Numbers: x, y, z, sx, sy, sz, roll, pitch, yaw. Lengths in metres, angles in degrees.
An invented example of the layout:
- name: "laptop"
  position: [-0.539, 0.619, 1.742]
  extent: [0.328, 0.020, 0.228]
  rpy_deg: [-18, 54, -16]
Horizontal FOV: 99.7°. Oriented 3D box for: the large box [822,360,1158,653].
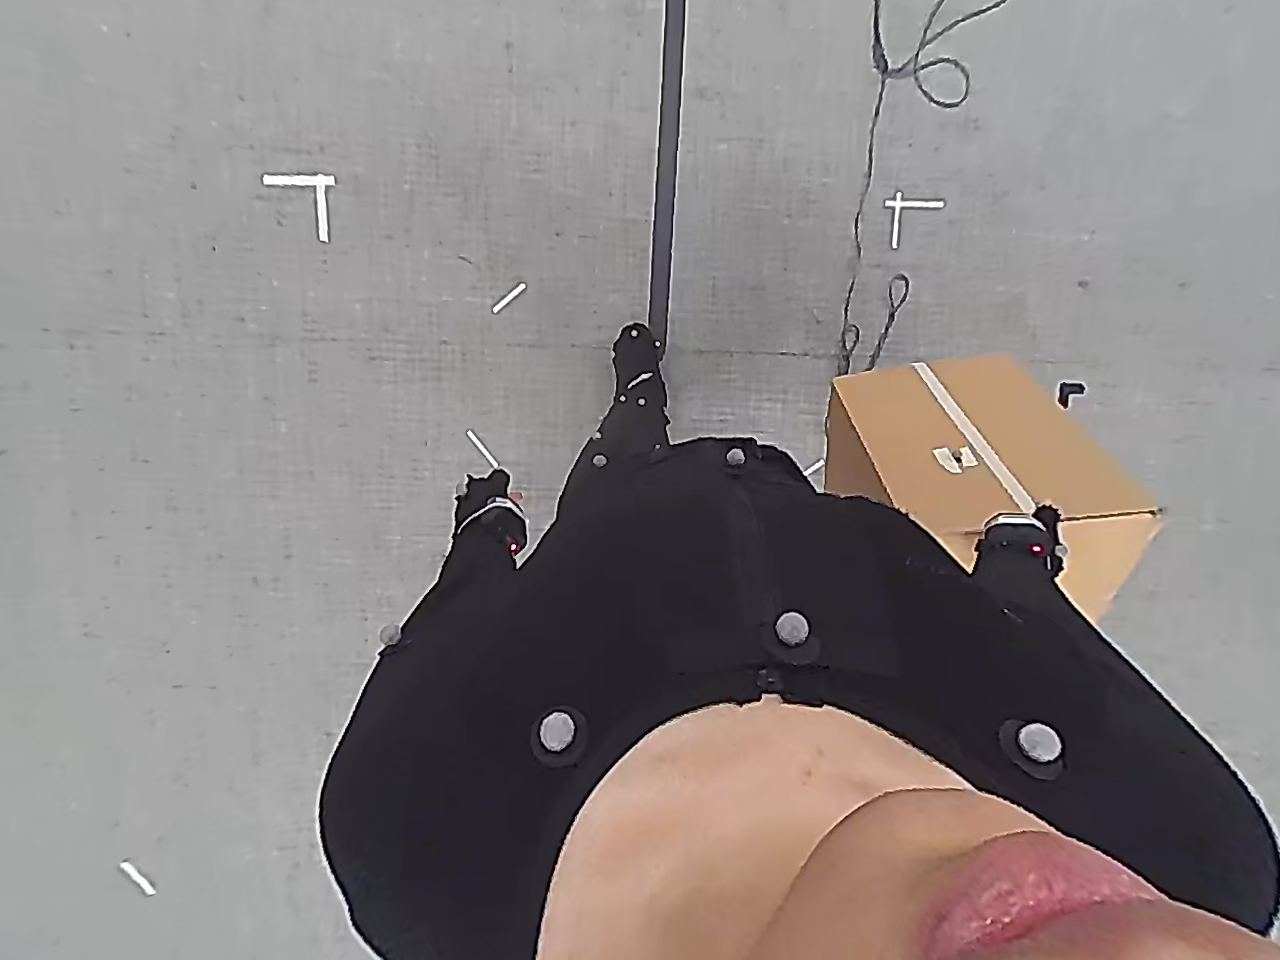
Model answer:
- name: "large box"
  position: [0.537, 0.038, 0.954]
  extent: [0.320, 0.408, 0.320]
  rpy_deg: [-8, 132, 6]
